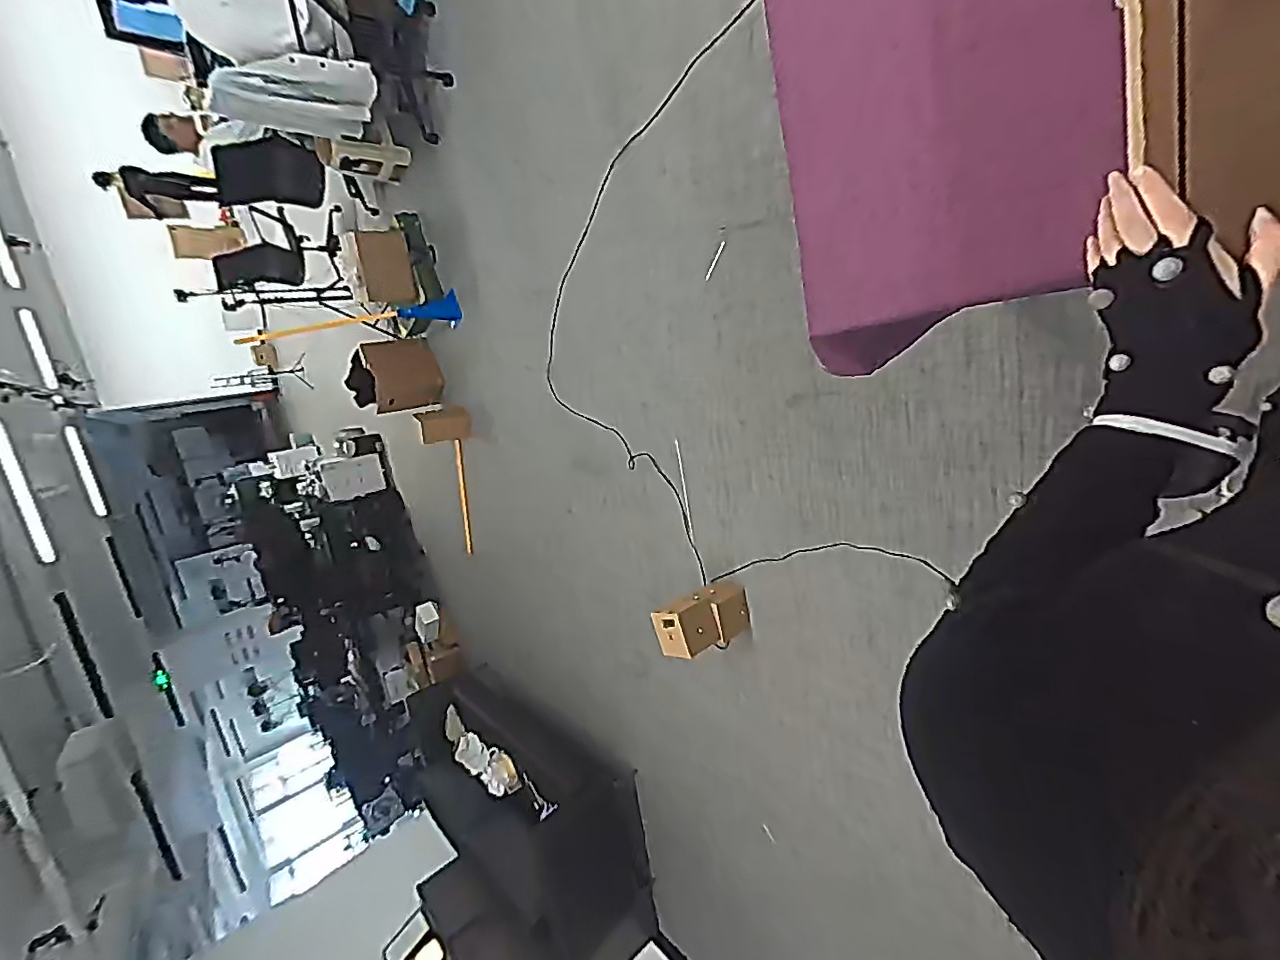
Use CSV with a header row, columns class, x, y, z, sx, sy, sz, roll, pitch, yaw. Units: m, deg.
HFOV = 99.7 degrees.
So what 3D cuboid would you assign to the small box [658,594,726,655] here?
class,x,y,z,sx,sy,sz,roll,pitch,yaw
small box,0.200,0.549,2.081,0.168,0.176,0.179,-15,93,54
